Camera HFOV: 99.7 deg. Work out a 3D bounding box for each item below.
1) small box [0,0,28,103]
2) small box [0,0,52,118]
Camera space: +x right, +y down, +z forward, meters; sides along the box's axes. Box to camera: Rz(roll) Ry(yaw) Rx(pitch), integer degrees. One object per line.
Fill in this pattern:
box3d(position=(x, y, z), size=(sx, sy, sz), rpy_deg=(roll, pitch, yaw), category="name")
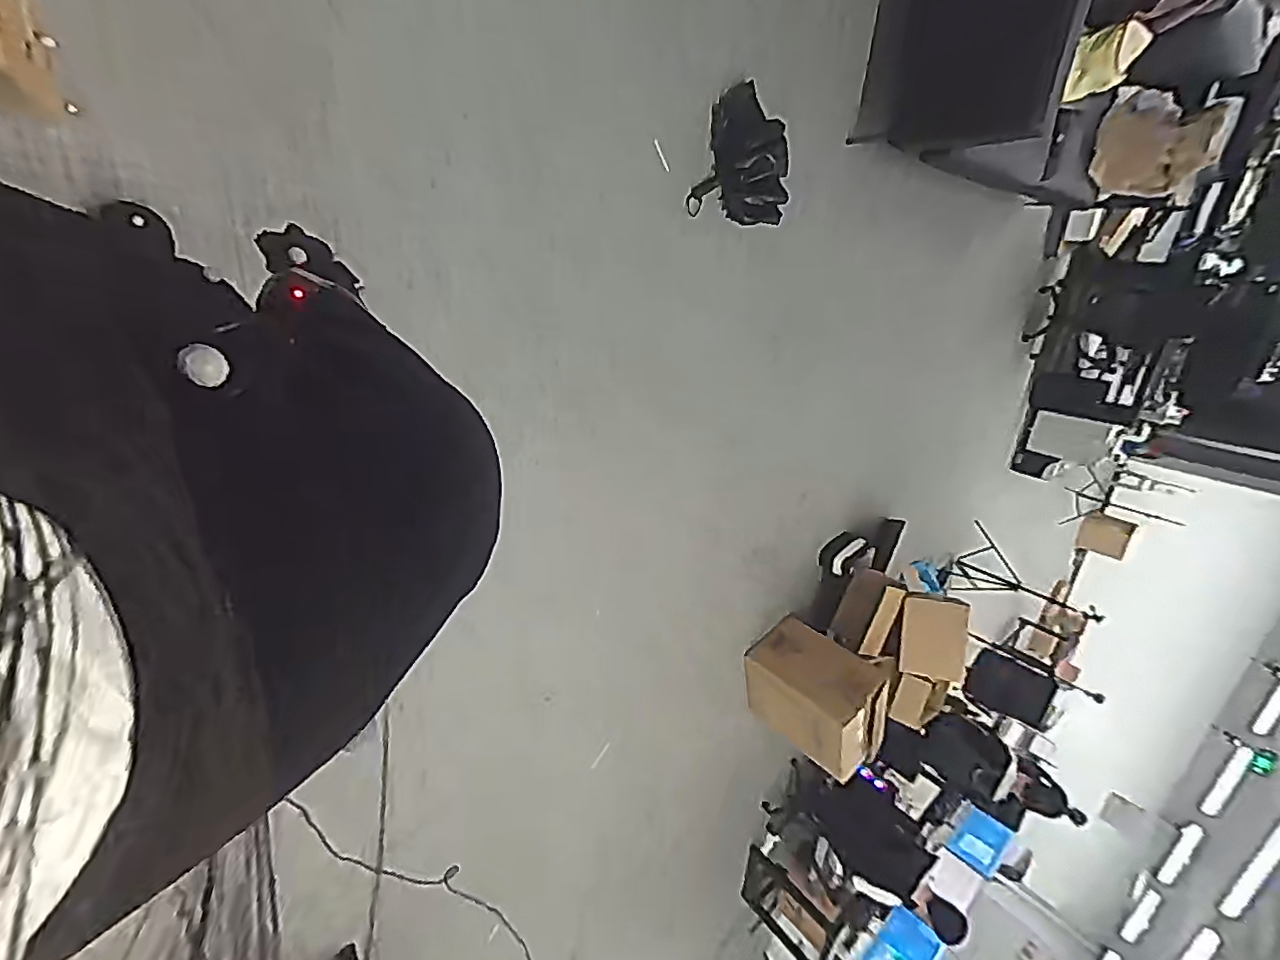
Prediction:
box3d(position=(-0.769, -0.512, 0.548), size=(0.179, 0.176, 0.168), rpy_deg=(-6, 111, -38), category="small box")
box3d(position=(-0.871, -0.568, 0.666), size=(0.179, 0.176, 0.168), rpy_deg=(-9, 116, -38), category="small box")
